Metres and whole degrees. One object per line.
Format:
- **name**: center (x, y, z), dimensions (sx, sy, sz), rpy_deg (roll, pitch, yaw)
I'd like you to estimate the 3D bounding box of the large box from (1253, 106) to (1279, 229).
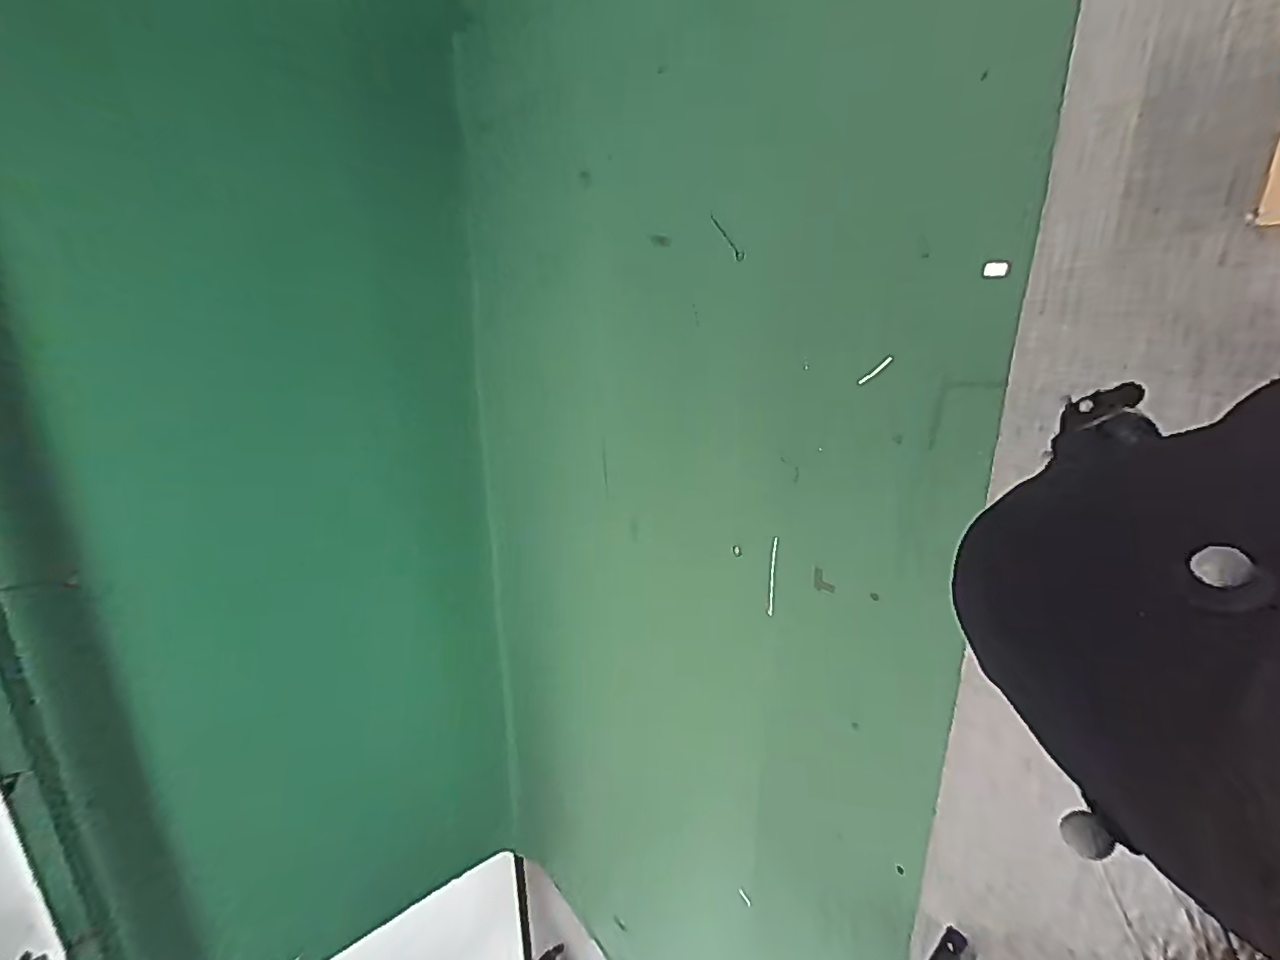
- **large box**: center (1.149, -0.531, 0.704), dimensions (0.408, 0.320, 0.320), rpy_deg (18, 114, 48)
